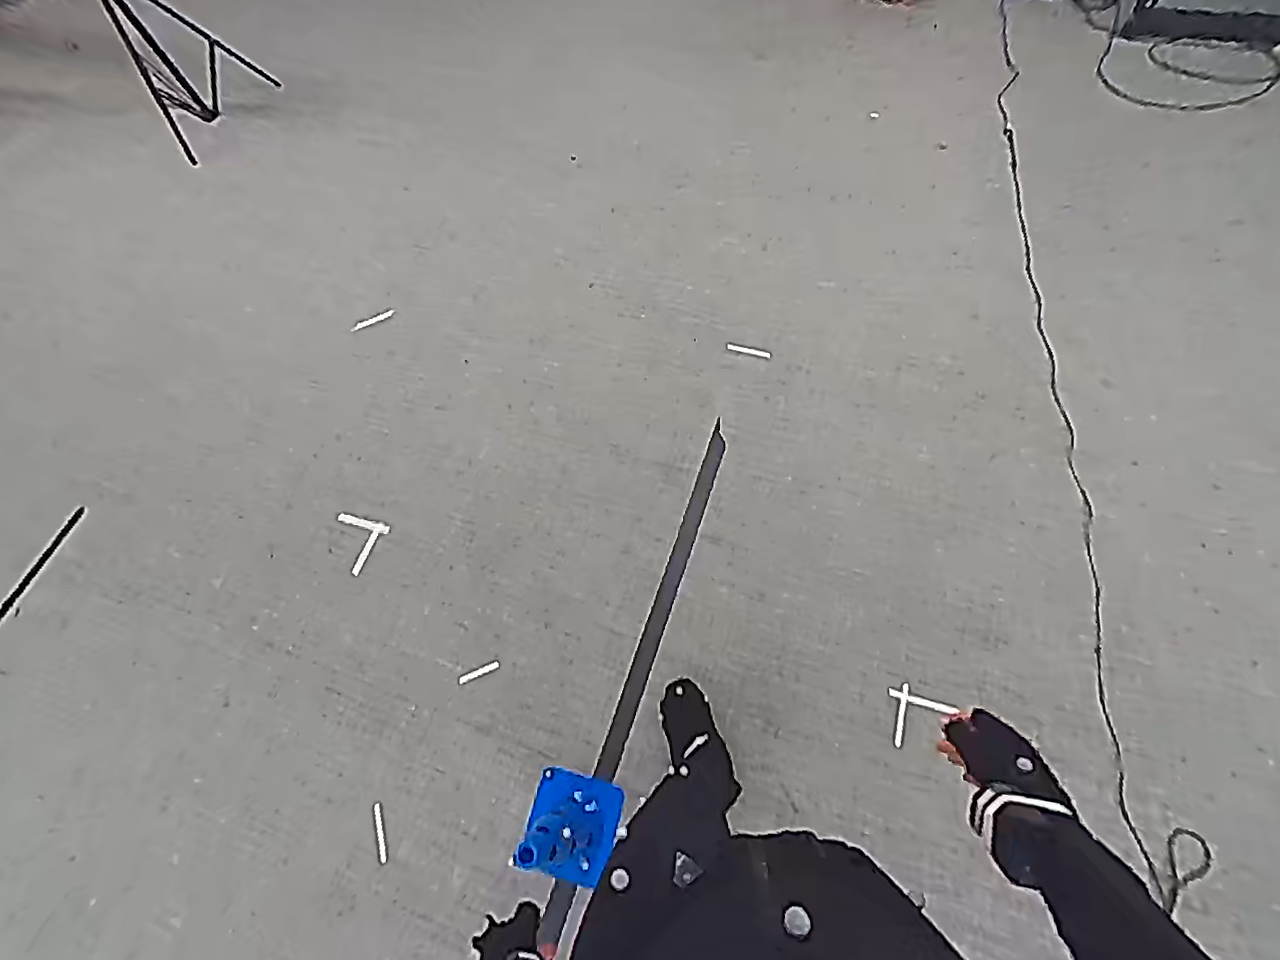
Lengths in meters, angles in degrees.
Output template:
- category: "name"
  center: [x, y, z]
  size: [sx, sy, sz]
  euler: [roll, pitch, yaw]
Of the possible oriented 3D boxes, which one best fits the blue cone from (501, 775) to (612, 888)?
- category: "blue cone"
  center: [-0.184, 0.707, 1.058]
  size: [0.192, 0.380, 0.193]
  euler: [12, 66, 13]
